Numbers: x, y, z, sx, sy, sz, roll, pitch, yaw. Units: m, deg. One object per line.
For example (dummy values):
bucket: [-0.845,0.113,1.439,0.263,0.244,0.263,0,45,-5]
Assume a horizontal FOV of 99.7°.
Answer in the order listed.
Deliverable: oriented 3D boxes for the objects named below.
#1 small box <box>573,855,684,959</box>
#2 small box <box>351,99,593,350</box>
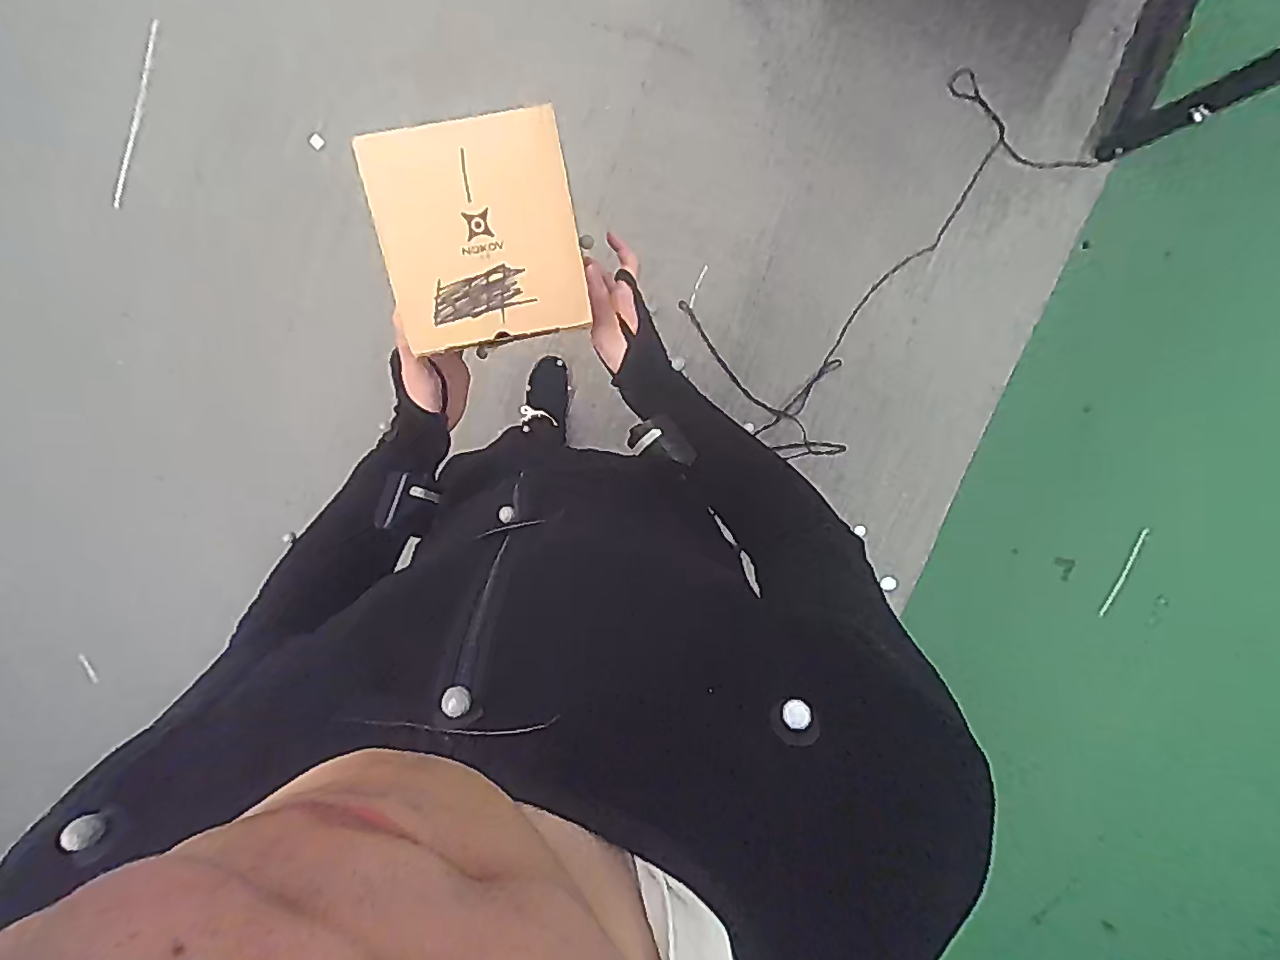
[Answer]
small box: [-0.028,0.930,1.106,0.168,0.176,0.179,27,97,-7]
small box: [-0.141,-0.232,0.530,0.168,0.176,0.179,-10,106,0]
